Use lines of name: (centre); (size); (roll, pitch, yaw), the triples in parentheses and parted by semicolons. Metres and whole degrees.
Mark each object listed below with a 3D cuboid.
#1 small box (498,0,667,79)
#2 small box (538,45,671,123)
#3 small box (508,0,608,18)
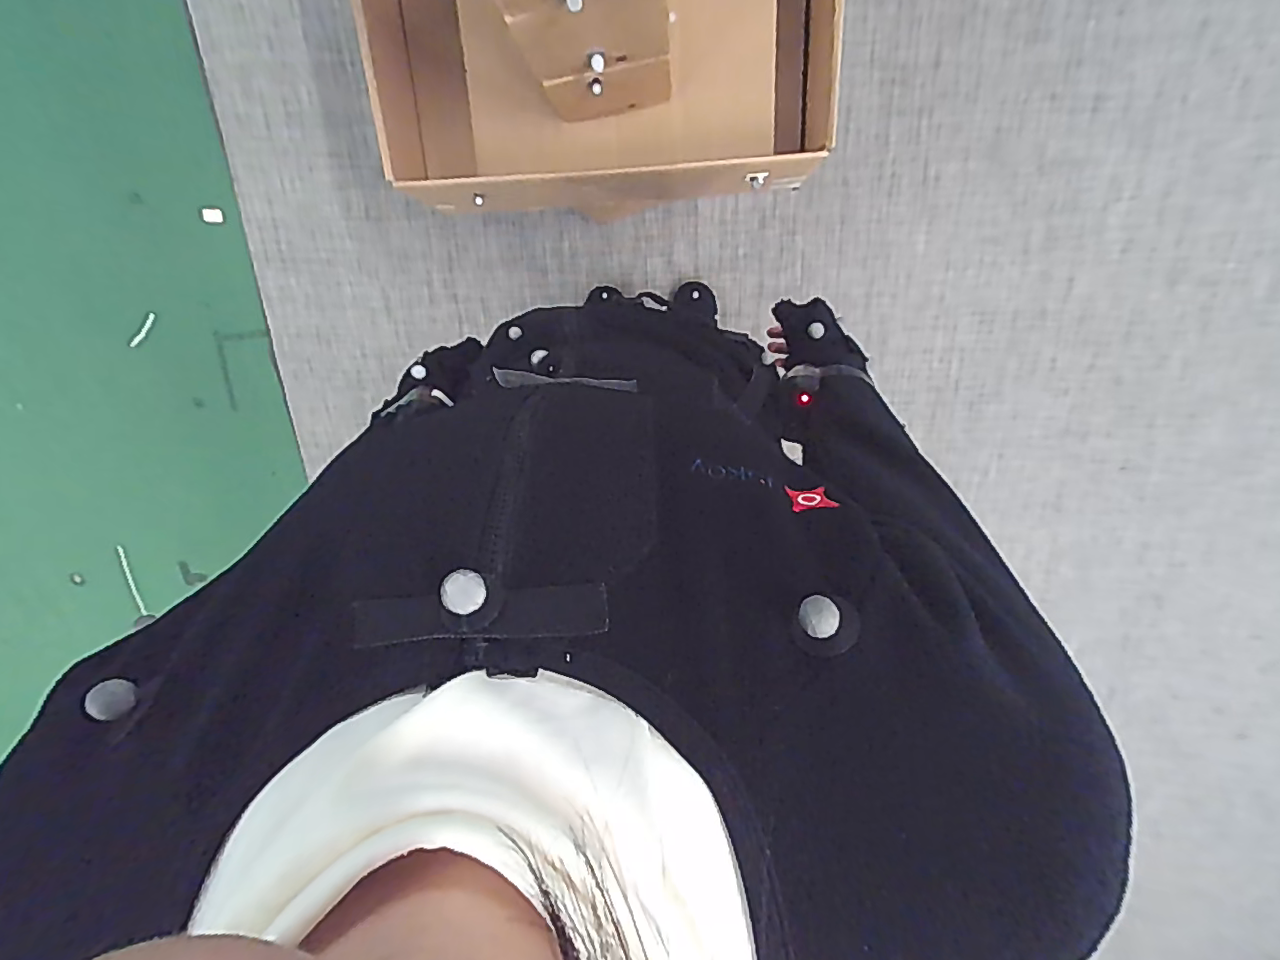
small box: (-0.062, -0.567, 0.571); (0.168, 0.176, 0.179); (-7, 109, 7)
small box: (-0.052, -0.618, 0.727); (0.168, 0.176, 0.179); (-7, 108, 8)
small box: (-0.067, -0.514, 0.419); (0.168, 0.176, 0.179); (-6, 110, 8)
